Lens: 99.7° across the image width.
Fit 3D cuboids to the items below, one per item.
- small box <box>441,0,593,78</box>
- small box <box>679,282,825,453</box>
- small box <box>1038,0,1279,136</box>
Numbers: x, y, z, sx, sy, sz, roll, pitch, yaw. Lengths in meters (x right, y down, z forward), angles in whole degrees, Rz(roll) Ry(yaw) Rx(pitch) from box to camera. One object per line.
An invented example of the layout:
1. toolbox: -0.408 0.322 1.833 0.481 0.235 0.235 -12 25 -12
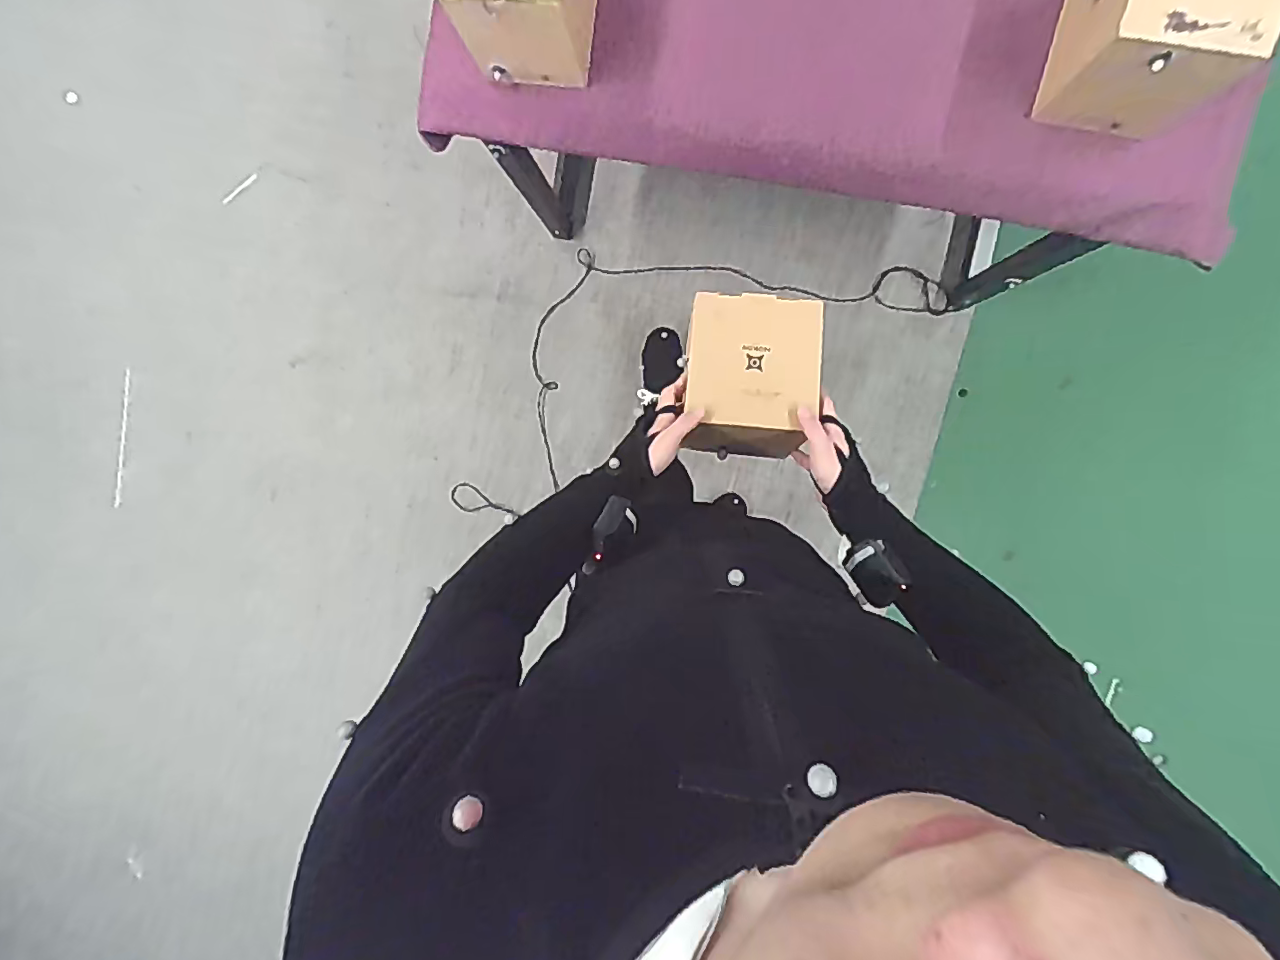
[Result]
1. small box: -0.161 -0.699 0.746 0.168 0.176 0.179 8 95 4
2. small box: 0.144 -0.145 0.747 0.168 0.176 0.179 6 82 2
3. small box: 0.649 -0.578 0.678 0.168 0.176 0.179 14 95 5
